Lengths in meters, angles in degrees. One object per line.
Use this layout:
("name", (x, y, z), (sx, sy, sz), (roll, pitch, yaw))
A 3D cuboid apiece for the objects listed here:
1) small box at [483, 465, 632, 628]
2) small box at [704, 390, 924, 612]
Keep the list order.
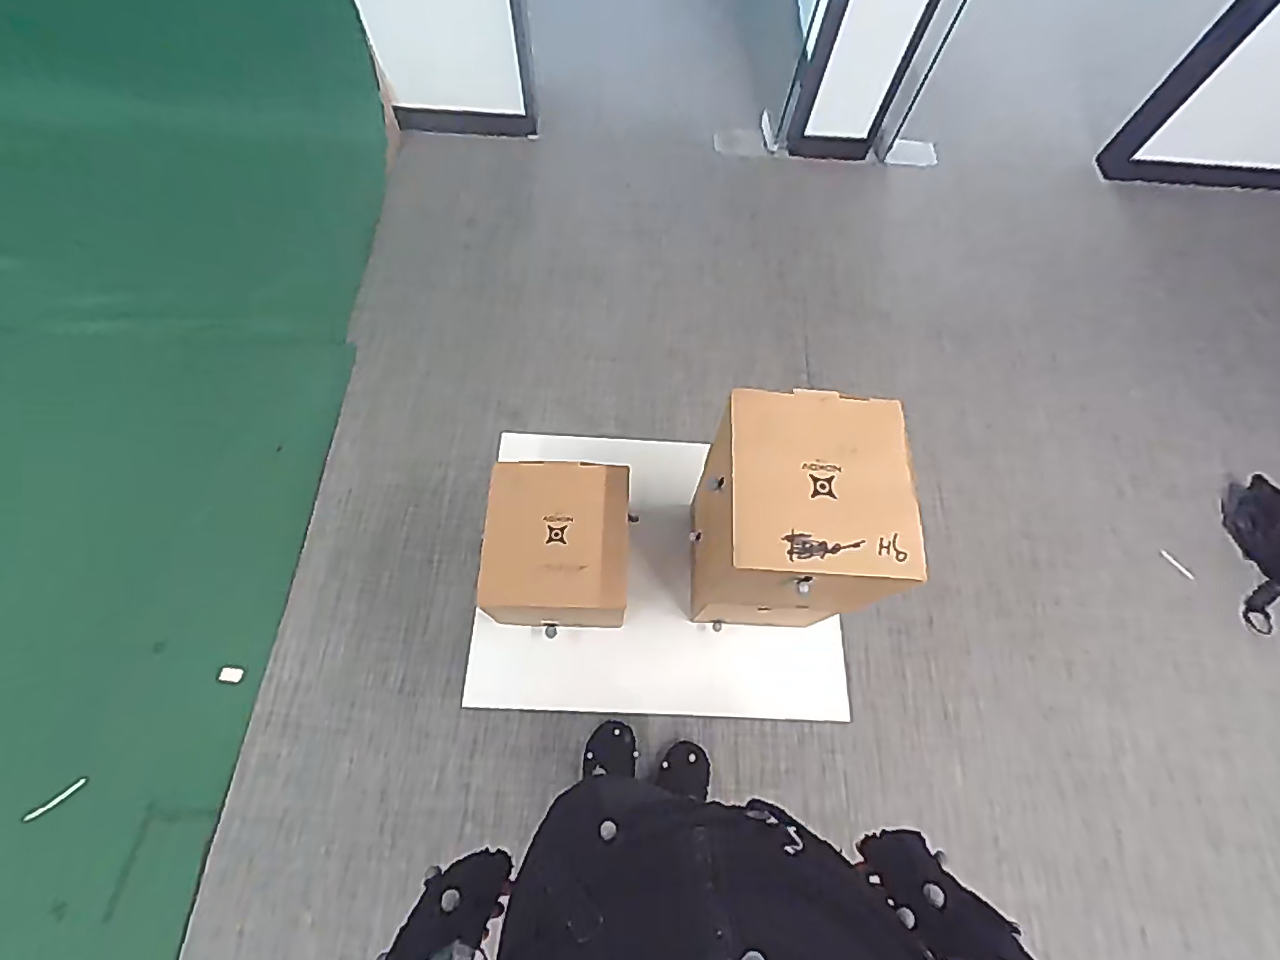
("small box", (-0.095, 0.093, 0.700), (0.168, 0.176, 0.179), (0, 69, -2))
("small box", (0.158, 0.029, 0.556), (0.168, 0.176, 0.179), (3, 67, -1))
